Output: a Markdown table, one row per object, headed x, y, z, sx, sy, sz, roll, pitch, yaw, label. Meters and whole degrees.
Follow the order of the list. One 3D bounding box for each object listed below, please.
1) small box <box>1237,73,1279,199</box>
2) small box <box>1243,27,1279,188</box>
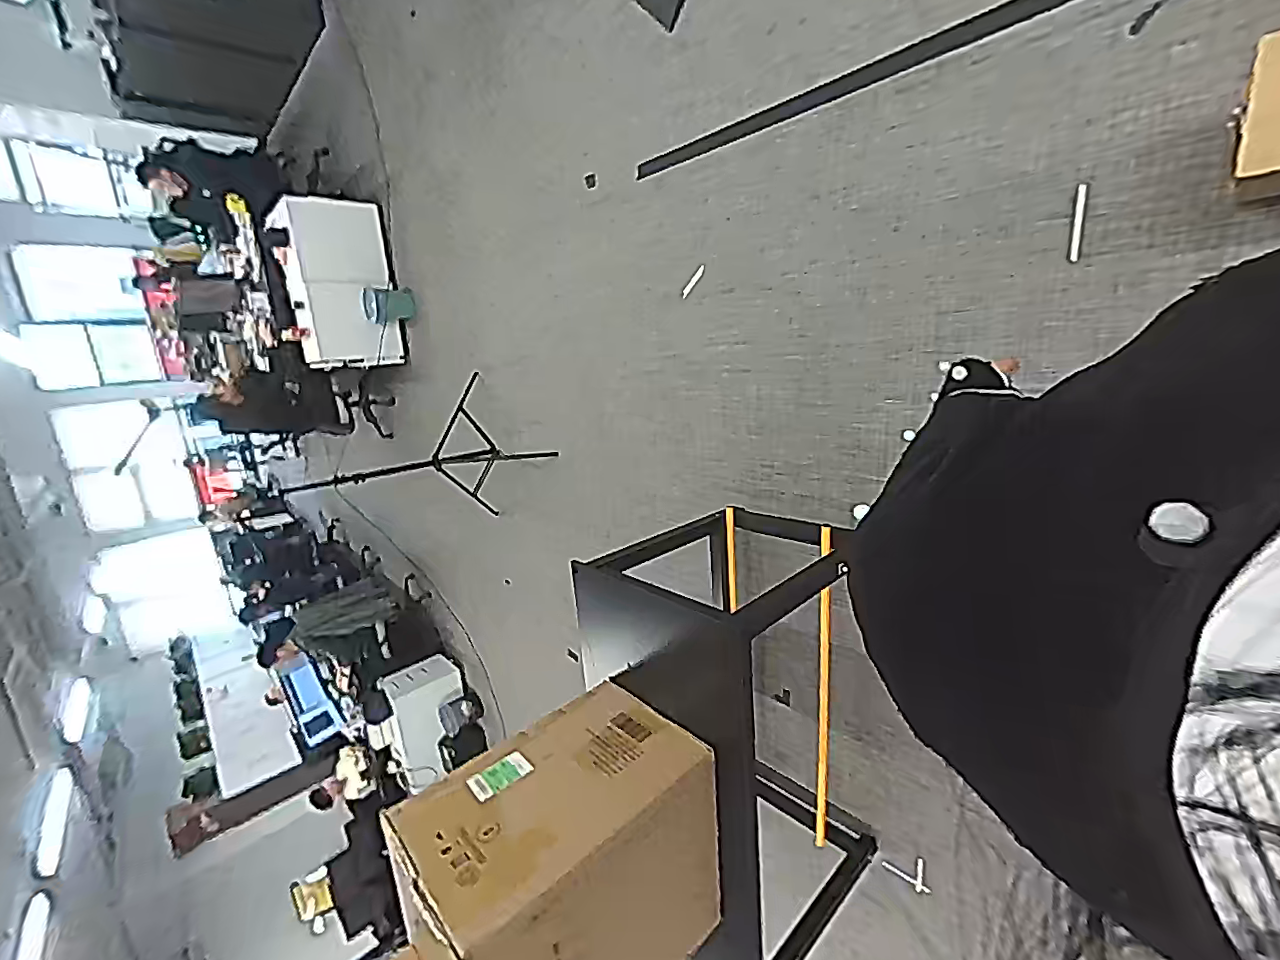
| x | y | z | sx | sy | sz | roll | pitch | yaw | label |
| --- | --- | --- | --- | --- | --- | --- | --- | --- | --- |
| 1.065 | -0.552 | 0.836 | 0.179 | 0.176 | 0.168 | 6 | 108 | 47 | small box |
| 0.948 | -0.515 | 0.726 | 0.168 | 0.176 | 0.179 | 12 | 112 | 46 | small box |
